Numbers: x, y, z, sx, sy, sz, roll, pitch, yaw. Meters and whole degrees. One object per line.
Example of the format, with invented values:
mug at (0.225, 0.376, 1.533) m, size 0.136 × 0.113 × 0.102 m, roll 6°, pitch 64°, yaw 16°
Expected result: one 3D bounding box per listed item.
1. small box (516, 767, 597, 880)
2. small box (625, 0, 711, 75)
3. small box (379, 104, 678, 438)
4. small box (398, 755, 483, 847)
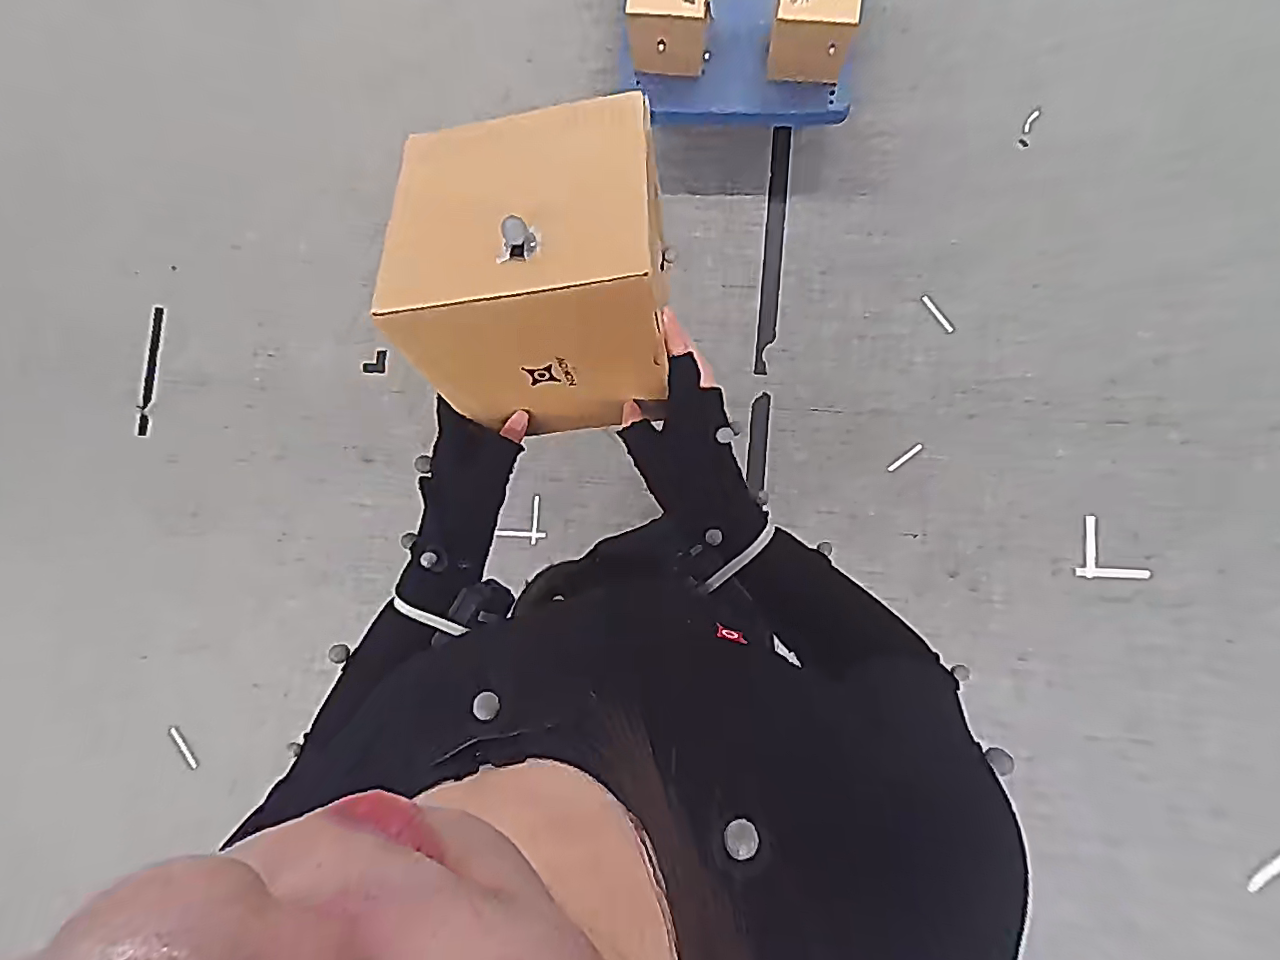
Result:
small box at (-0.211, 0.890, 1.415) m, size 0.168 × 0.176 × 0.179 m, roll 6°, pitch 88°, yaw 5°
small box at (0.072, -1.095, 1.270) m, size 0.179 × 0.176 × 0.168 m, roll 8°, pitch 88°, yaw 6°
small box at (-0.067, -0.152, 0.425) m, size 0.179 × 0.168 × 0.176 m, roll -6°, pitch 66°, yaw 8°
small box at (-0.530, 0.870, 1.446) m, size 0.168 × 0.176 × 0.179 m, roll 2°, pitch 88°, yaw 5°
